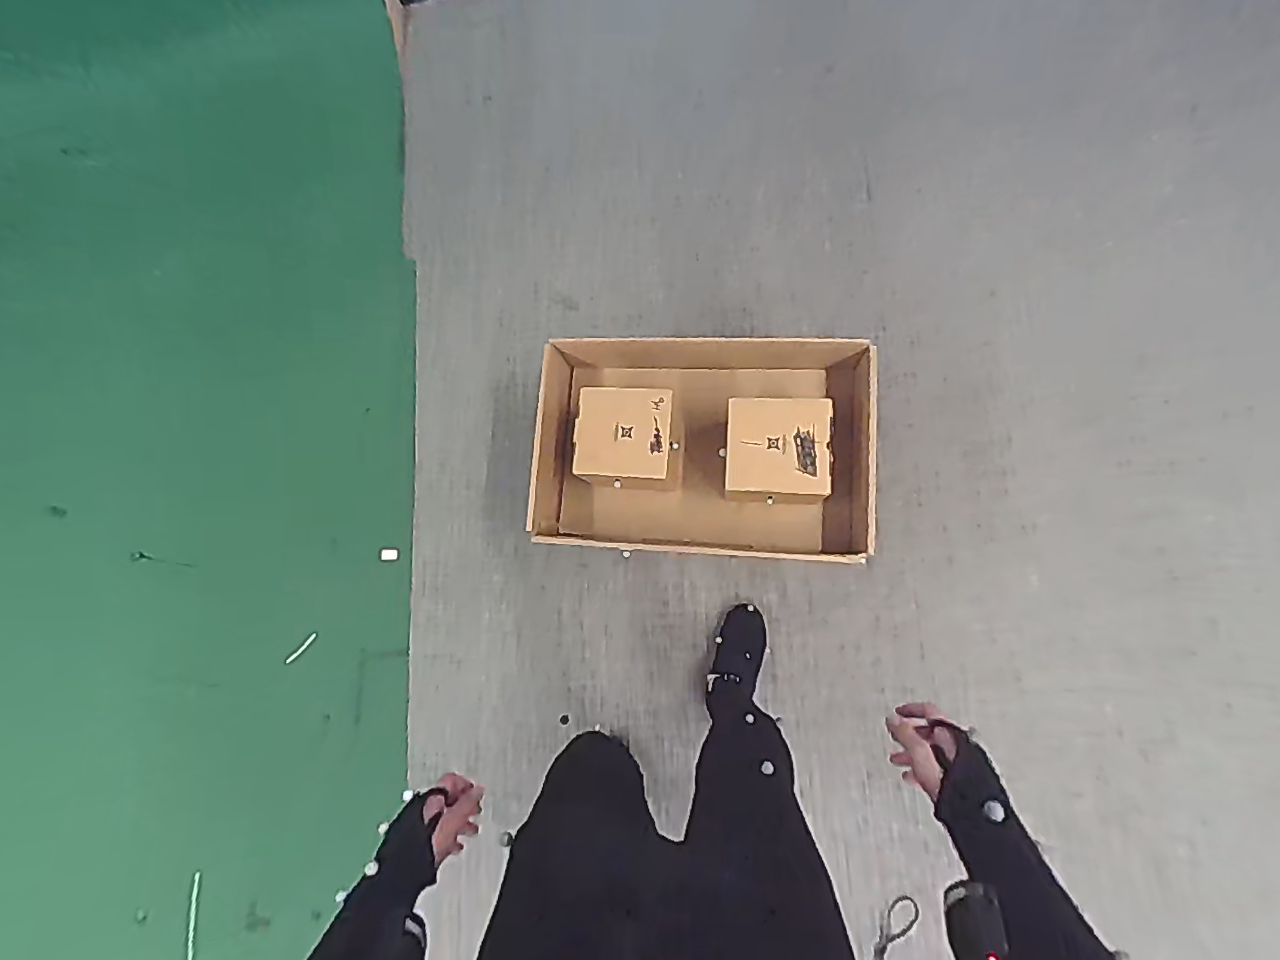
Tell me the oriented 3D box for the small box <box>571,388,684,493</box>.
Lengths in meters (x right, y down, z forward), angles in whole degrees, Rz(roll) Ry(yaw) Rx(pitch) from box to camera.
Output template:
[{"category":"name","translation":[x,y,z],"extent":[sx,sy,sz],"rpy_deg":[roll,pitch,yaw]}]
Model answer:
[{"category":"small box","translation":[-0.017,-0.070,1.041],"extent":[0.179,0.176,0.168],"rpy_deg":[4,82,11]}]
